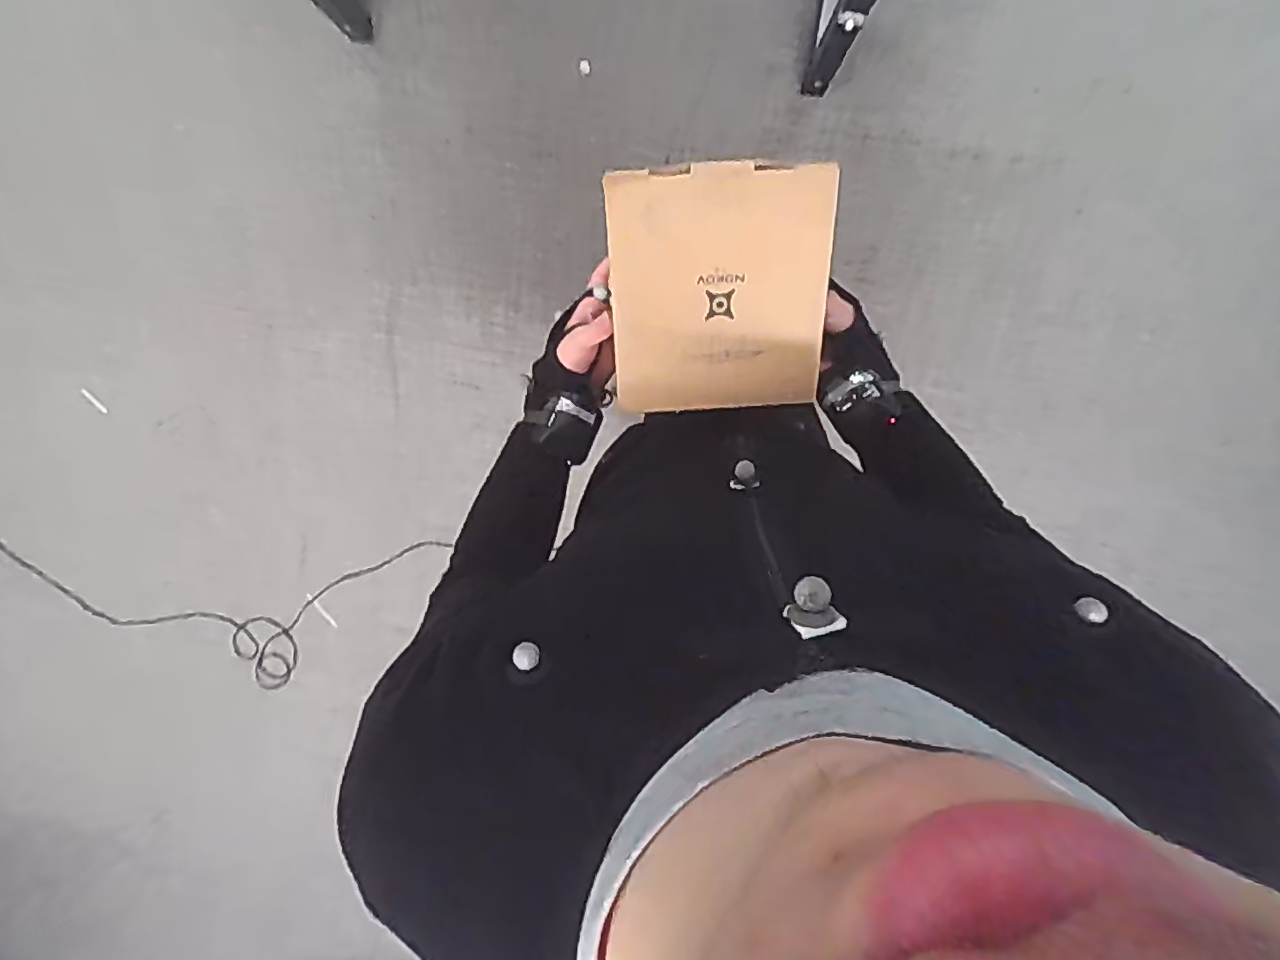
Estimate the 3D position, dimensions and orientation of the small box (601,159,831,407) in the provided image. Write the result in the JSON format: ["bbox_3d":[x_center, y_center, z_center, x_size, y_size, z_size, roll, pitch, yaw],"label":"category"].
[{"bbox_3d":[0.051,-0.177,0.481,0.168,0.176,0.179,-2,118,-1],"label":"small box"}]
